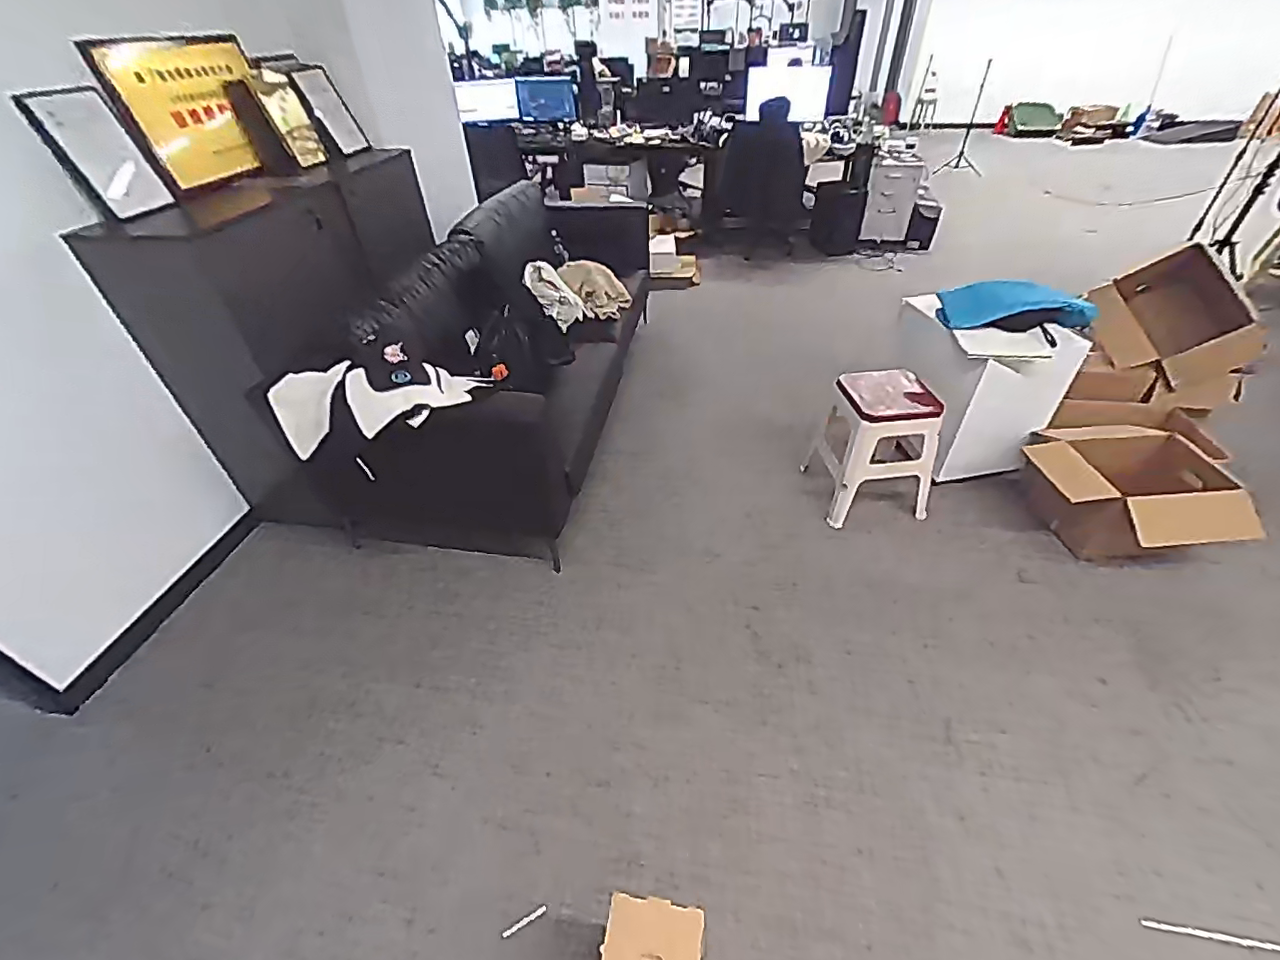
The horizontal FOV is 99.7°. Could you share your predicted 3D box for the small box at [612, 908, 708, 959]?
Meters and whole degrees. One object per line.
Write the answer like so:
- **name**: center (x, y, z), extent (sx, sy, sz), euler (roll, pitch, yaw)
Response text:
- **small box**: center (0.036, 0.970, 1.050), extent (0.179, 0.176, 0.168), euler (5, 41, 9)
